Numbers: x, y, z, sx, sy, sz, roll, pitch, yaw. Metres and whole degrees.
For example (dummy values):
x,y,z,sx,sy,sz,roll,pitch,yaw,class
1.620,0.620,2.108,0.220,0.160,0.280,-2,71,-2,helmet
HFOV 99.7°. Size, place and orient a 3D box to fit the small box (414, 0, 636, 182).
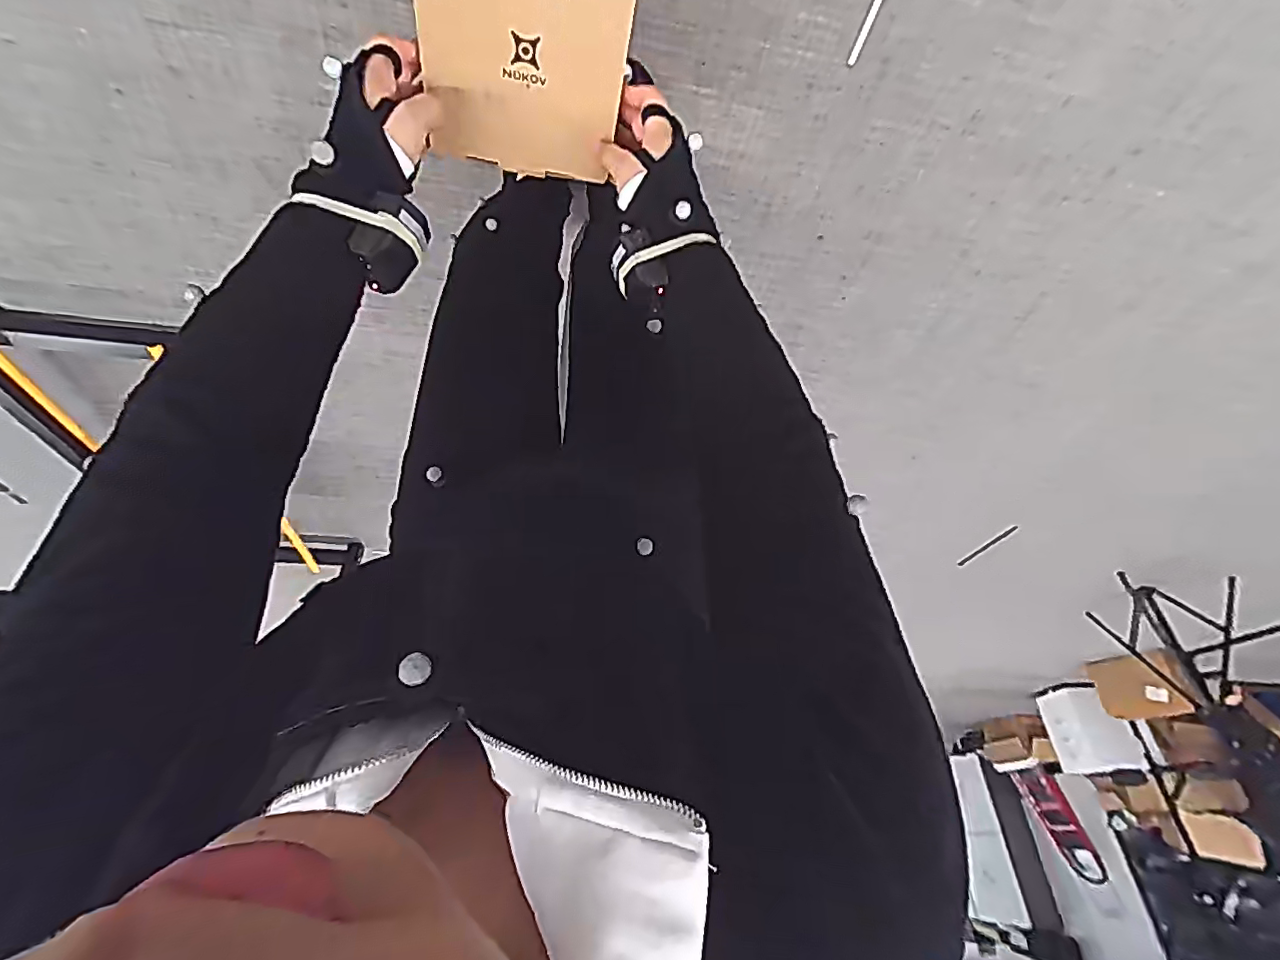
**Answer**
x,y,z,sx,sy,sz,roll,pitch,yaw,class
-0.096,-0.409,0.481,0.168,0.176,0.179,5,147,-11,small box
